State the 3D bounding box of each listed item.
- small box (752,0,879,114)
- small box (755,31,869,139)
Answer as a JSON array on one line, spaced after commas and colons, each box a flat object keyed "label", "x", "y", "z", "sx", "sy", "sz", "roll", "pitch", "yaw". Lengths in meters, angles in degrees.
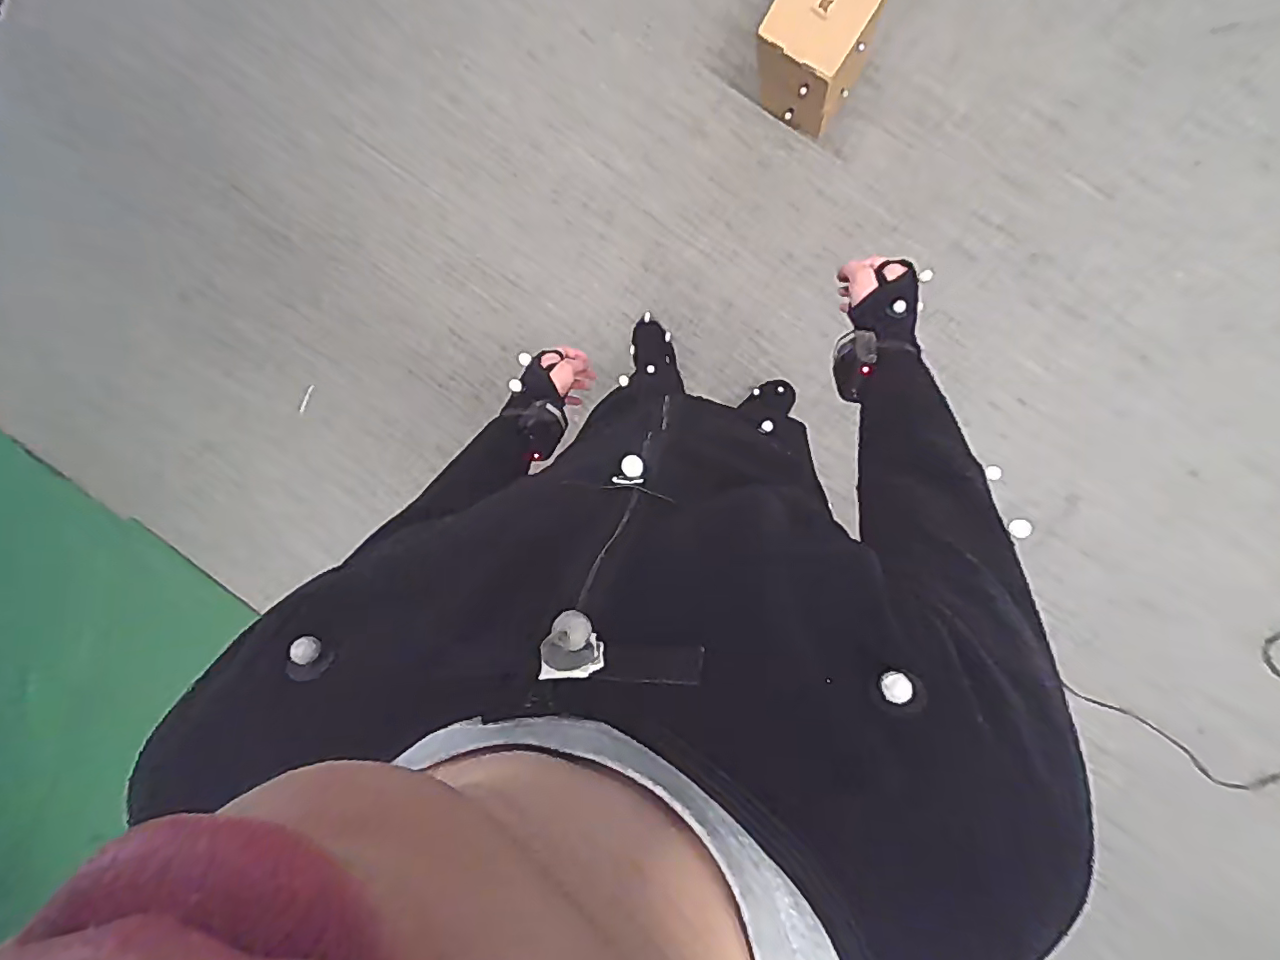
[{"label": "small box", "x": 0.337, "y": -0.862, "z": 1.049, "sx": 0.168, "sy": 0.176, "sz": 0.179, "roll": 34, "pitch": 108, "yaw": 2}, {"label": "small box", "x": 0.376, "y": -0.903, "z": 1.202, "sx": 0.168, "sy": 0.176, "sz": 0.179, "roll": 33, "pitch": 110, "yaw": 3}]
